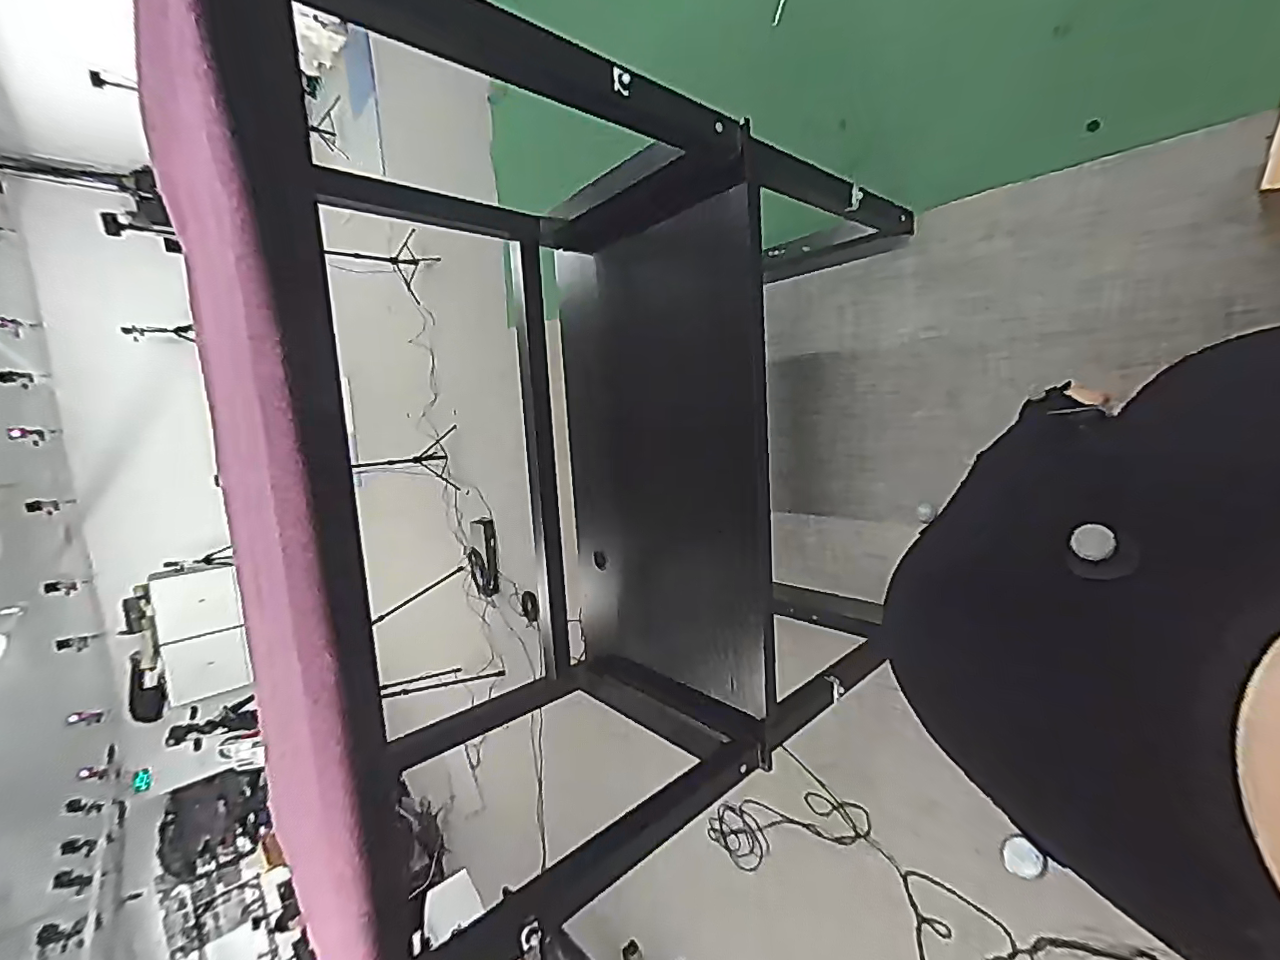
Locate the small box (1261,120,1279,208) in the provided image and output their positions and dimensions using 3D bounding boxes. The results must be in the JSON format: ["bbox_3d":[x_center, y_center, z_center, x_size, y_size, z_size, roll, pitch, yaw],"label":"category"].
[{"bbox_3d":[0.879,-0.429,0.629,0.179,0.176,0.168,18,112,46],"label":"small box"}]

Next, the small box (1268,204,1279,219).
[{"bbox_3d":[1.003,-0.463,0.734,0.168,0.176,0.179,15,109,47],"label":"small box"}]
